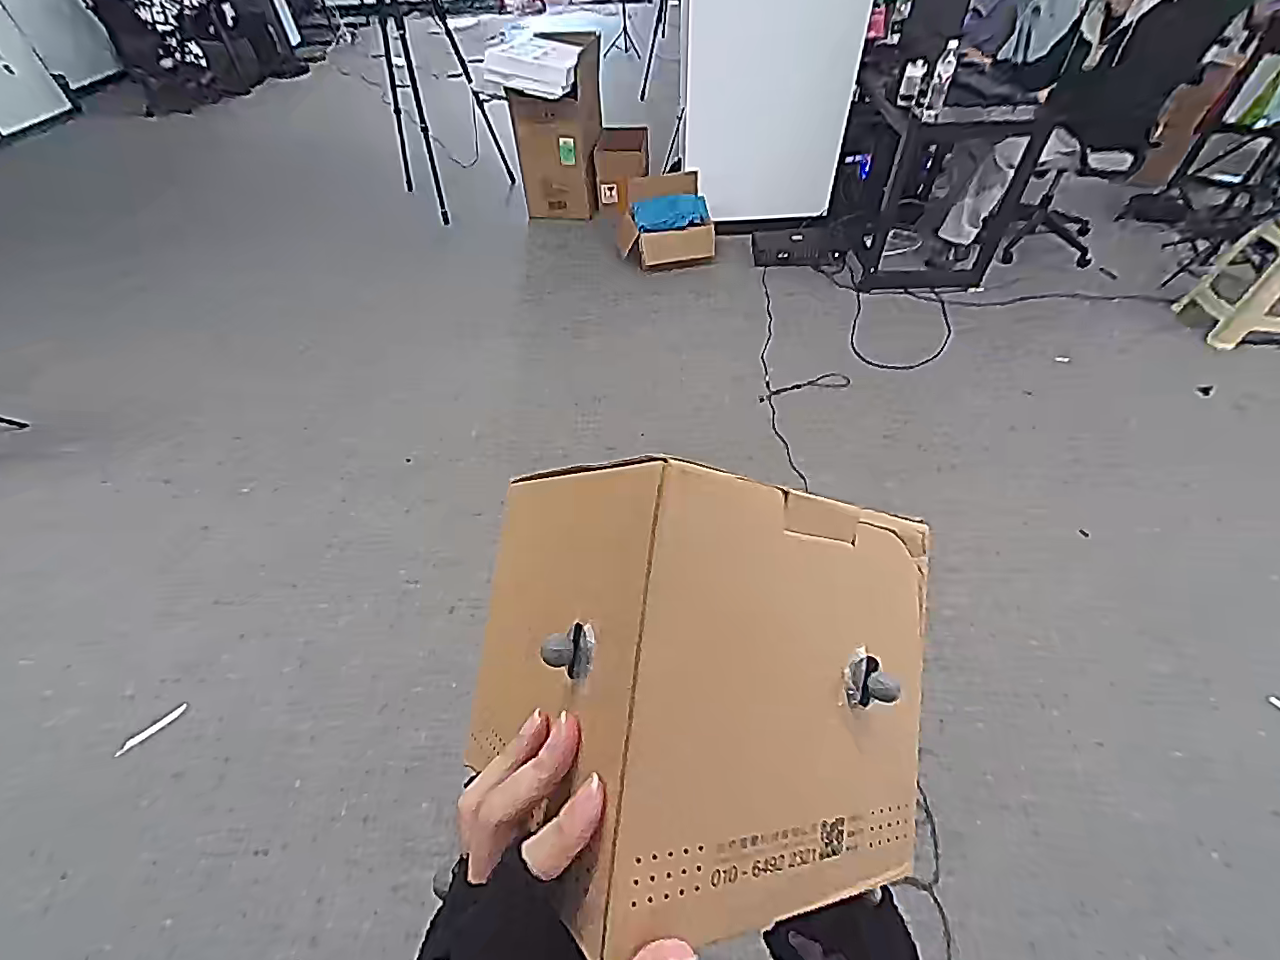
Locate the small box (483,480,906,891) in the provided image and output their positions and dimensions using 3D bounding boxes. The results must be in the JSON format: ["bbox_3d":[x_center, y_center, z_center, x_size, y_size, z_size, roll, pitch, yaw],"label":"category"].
[{"bbox_3d":[0.022,0.100,0.310,0.168,0.179,0.176,13,80,-29],"label":"small box"}]
